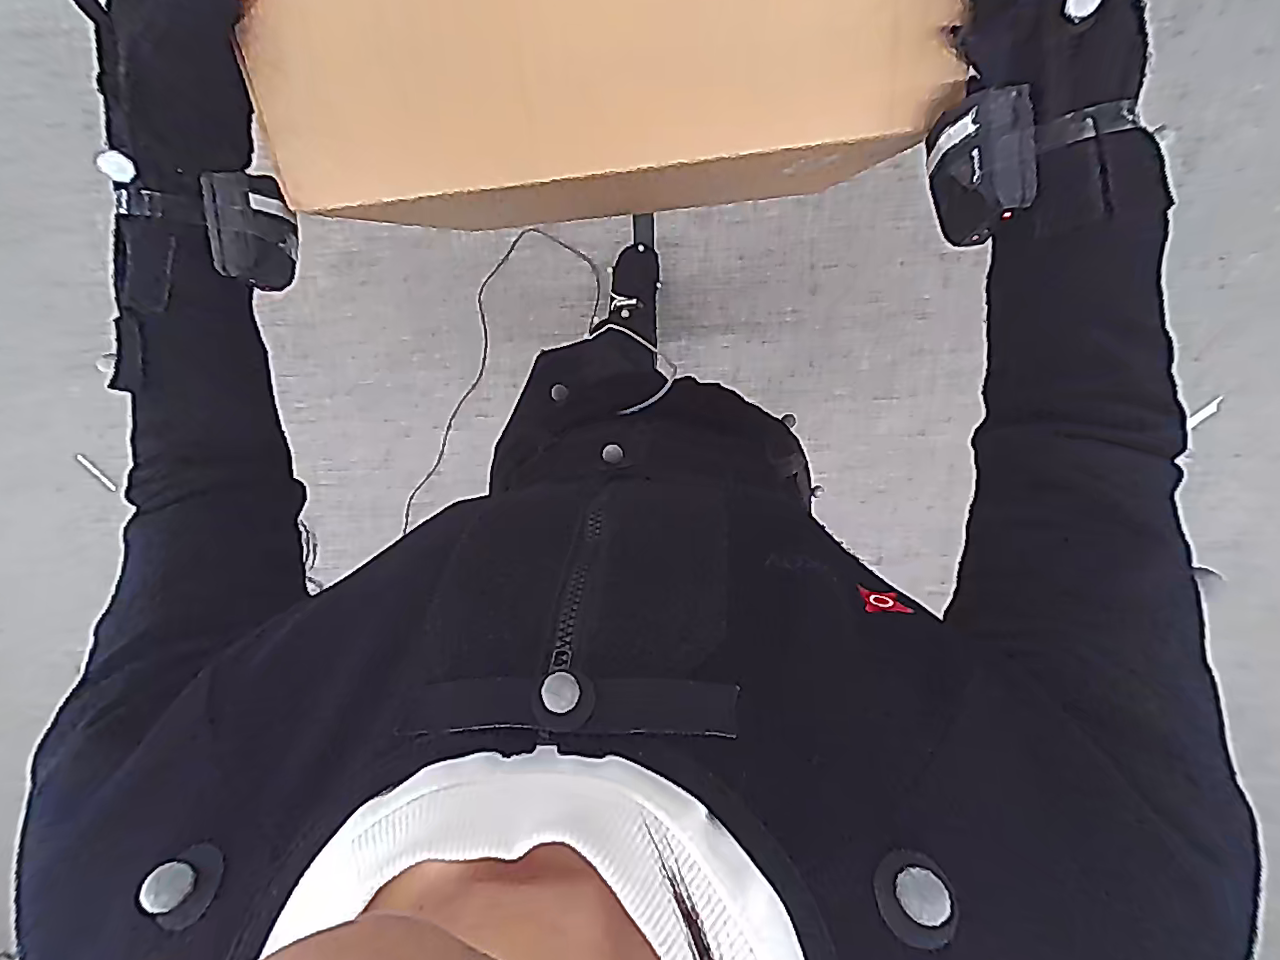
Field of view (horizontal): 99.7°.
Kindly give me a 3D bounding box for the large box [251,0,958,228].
[{"bbox_3d":[-0.026,-0.394,0.415,0.408,0.320,0.320,-4,113,6],"label":"large box"}]
